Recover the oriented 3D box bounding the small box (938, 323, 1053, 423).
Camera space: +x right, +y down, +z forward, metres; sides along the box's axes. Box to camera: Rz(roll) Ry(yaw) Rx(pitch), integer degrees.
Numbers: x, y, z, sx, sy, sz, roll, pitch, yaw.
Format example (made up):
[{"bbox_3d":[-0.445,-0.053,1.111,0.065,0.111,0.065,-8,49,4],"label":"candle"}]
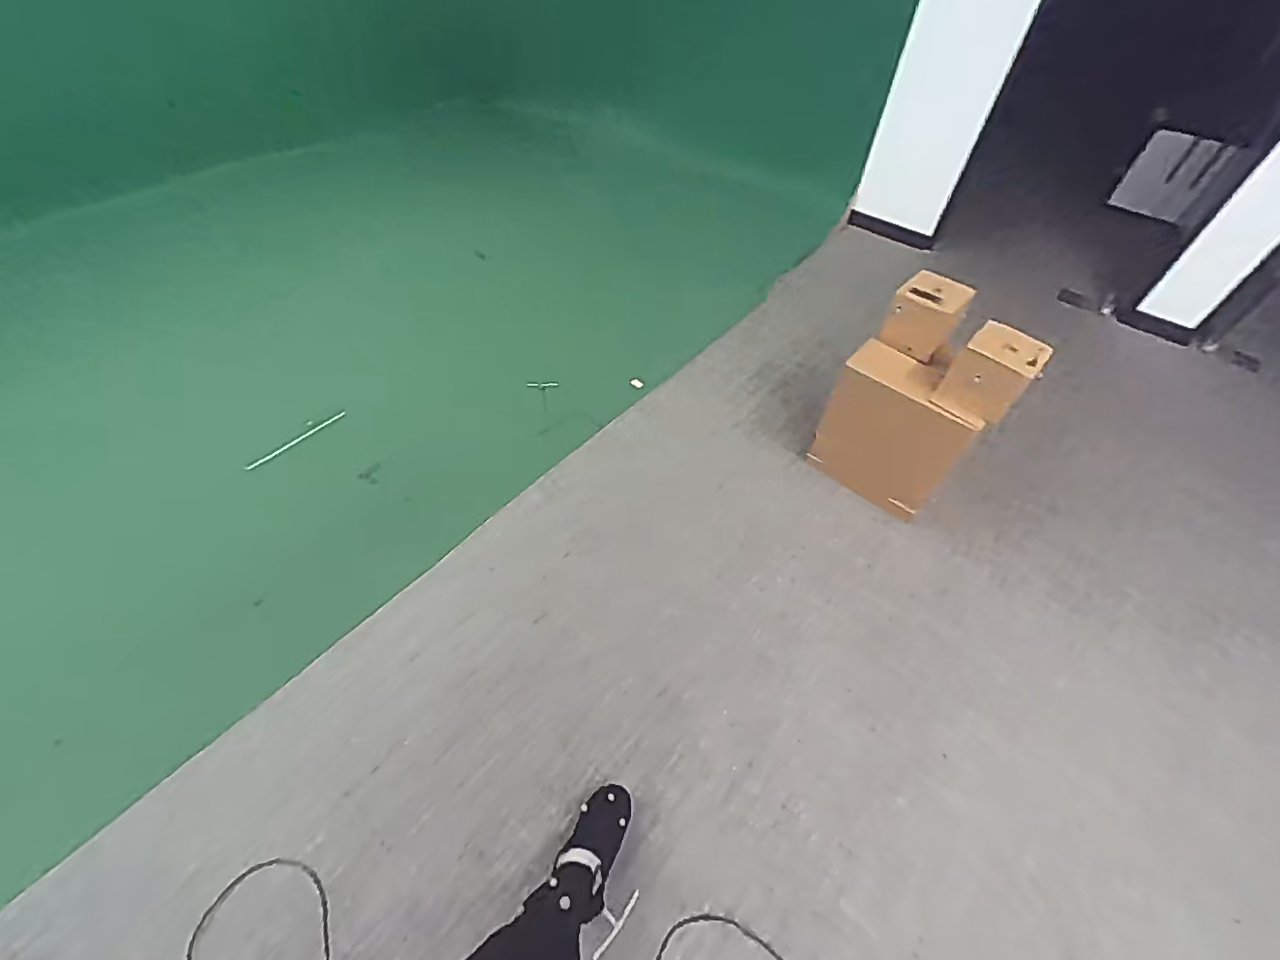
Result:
[{"bbox_3d":[0.948,-0.285,1.458,0.179,0.176,0.168,38,61,25],"label":"small box"}]
